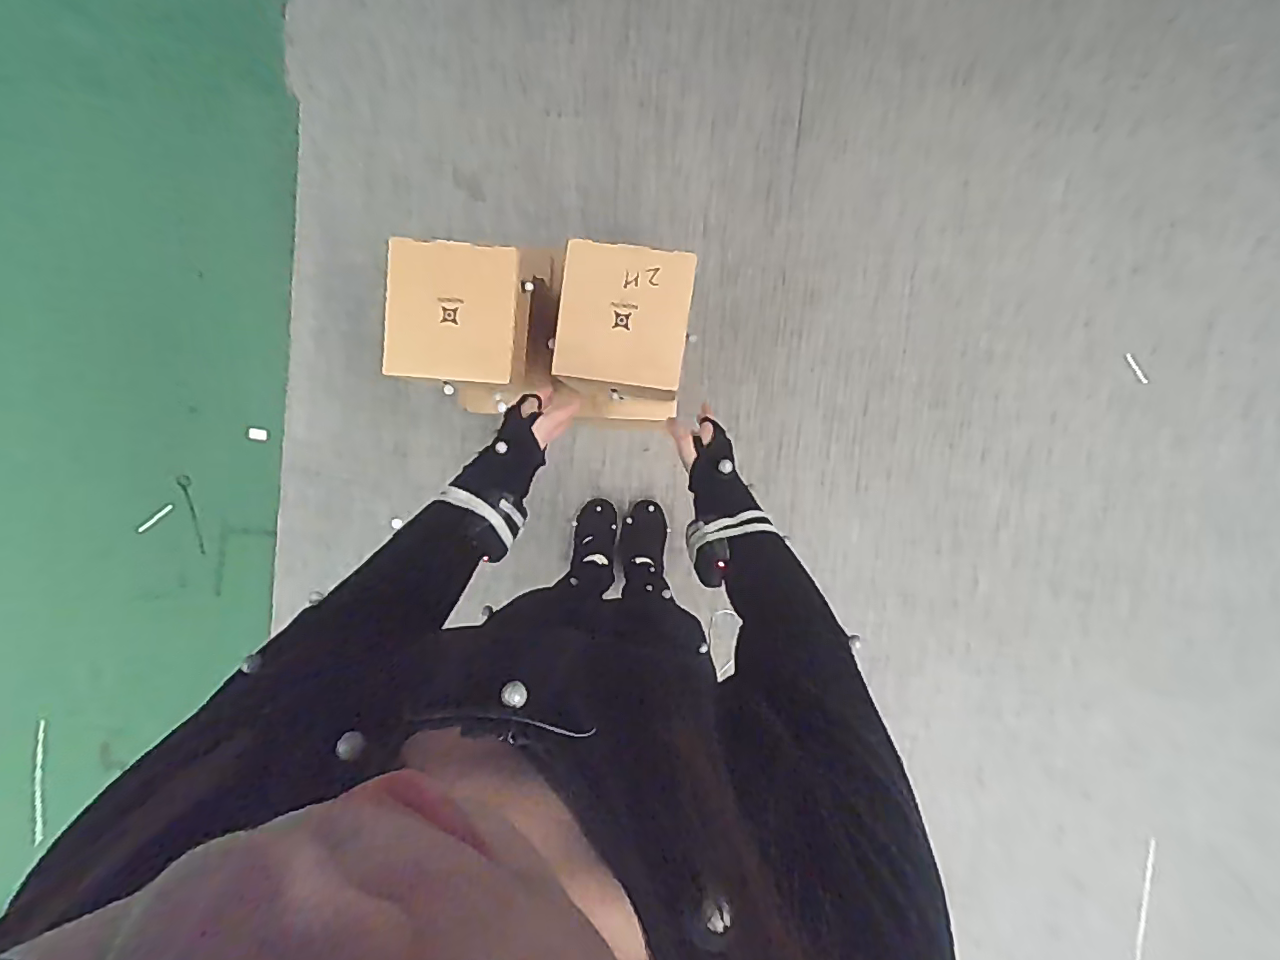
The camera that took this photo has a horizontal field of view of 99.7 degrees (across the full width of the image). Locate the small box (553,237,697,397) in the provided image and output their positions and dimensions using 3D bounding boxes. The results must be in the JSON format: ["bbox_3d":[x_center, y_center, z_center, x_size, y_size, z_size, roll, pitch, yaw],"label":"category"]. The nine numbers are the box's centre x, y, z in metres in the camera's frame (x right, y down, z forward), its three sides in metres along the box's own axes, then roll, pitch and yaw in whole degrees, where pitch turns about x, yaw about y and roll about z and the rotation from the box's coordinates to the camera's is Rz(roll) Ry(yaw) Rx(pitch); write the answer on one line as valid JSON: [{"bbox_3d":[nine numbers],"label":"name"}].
[{"bbox_3d":[-0.017,-0.219,0.773,0.168,0.176,0.179,10,95,1],"label":"small box"}]

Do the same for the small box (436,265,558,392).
[{"bbox_3d":[-0.239,-0.254,0.942,0.168,0.176,0.179,5,96,-1],"label":"small box"}]
